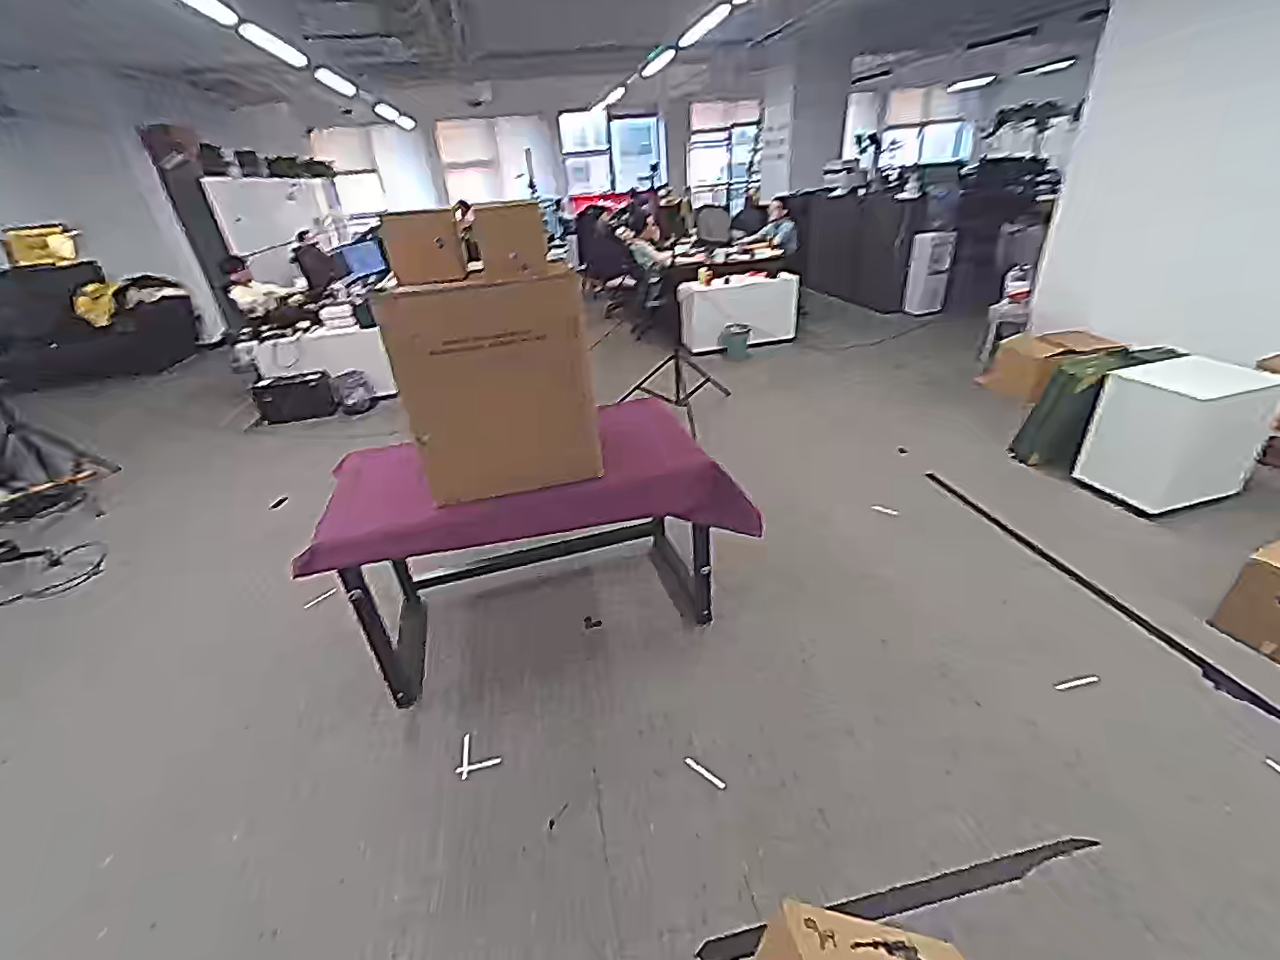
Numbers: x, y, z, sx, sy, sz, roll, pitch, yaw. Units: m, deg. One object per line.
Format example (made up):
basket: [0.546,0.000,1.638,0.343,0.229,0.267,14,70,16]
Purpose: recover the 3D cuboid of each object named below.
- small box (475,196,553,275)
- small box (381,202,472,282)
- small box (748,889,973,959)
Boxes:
small box: [-0.322,-0.640,1.413,0.168,0.176,0.179,-9,31,-6]
small box: [-0.548,-0.627,1.420,0.179,0.176,0.168,-9,29,-7]
small box: [0.166,0.446,0.373,0.168,0.176,0.179,18,6,-6]
